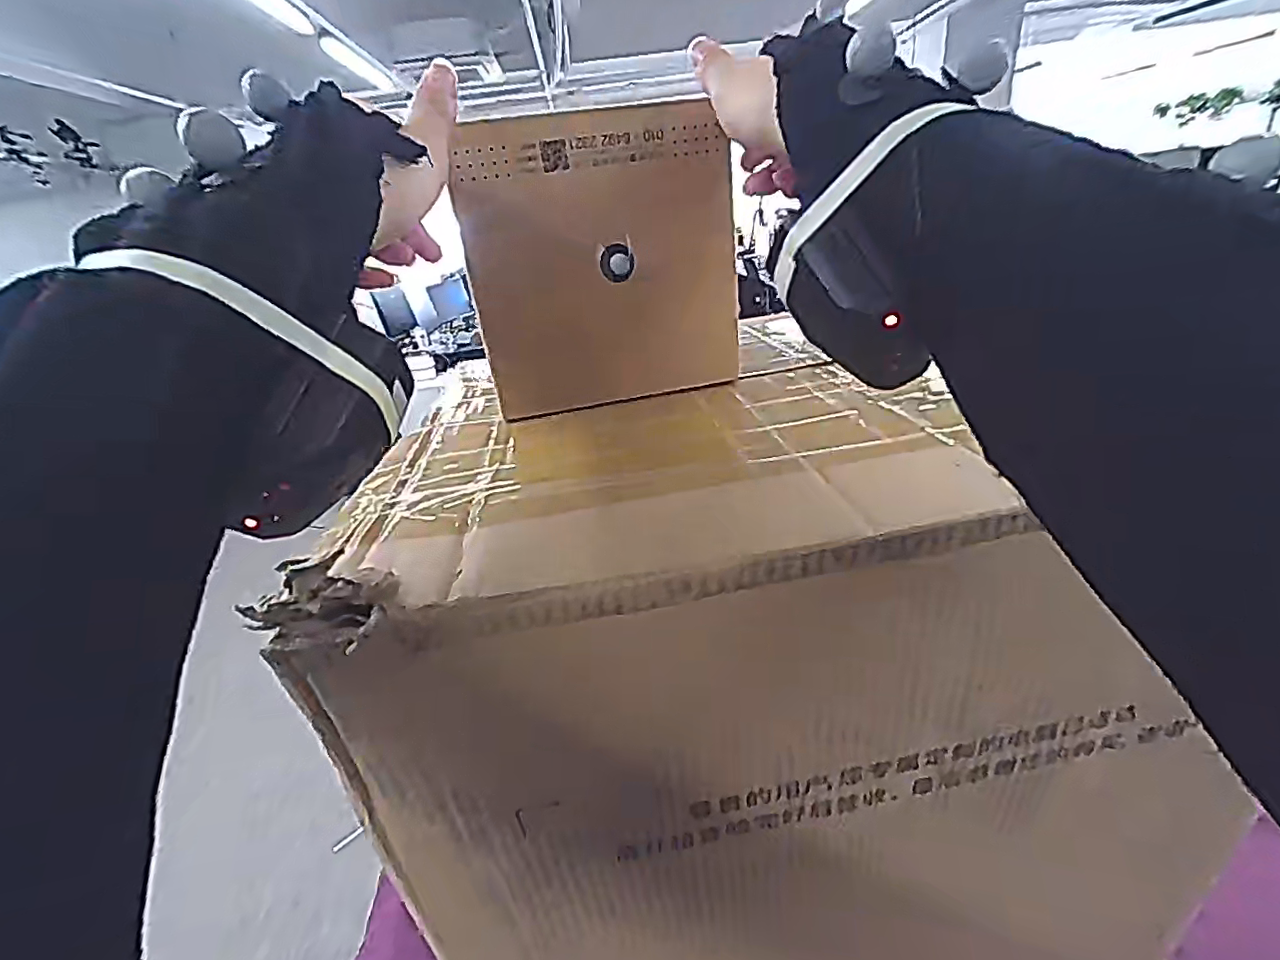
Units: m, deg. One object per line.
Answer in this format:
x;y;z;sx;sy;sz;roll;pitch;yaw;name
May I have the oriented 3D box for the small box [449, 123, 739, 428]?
-0.036;-0.158;0.409;0.168;0.176;0.179;-11;27;-8;small box
